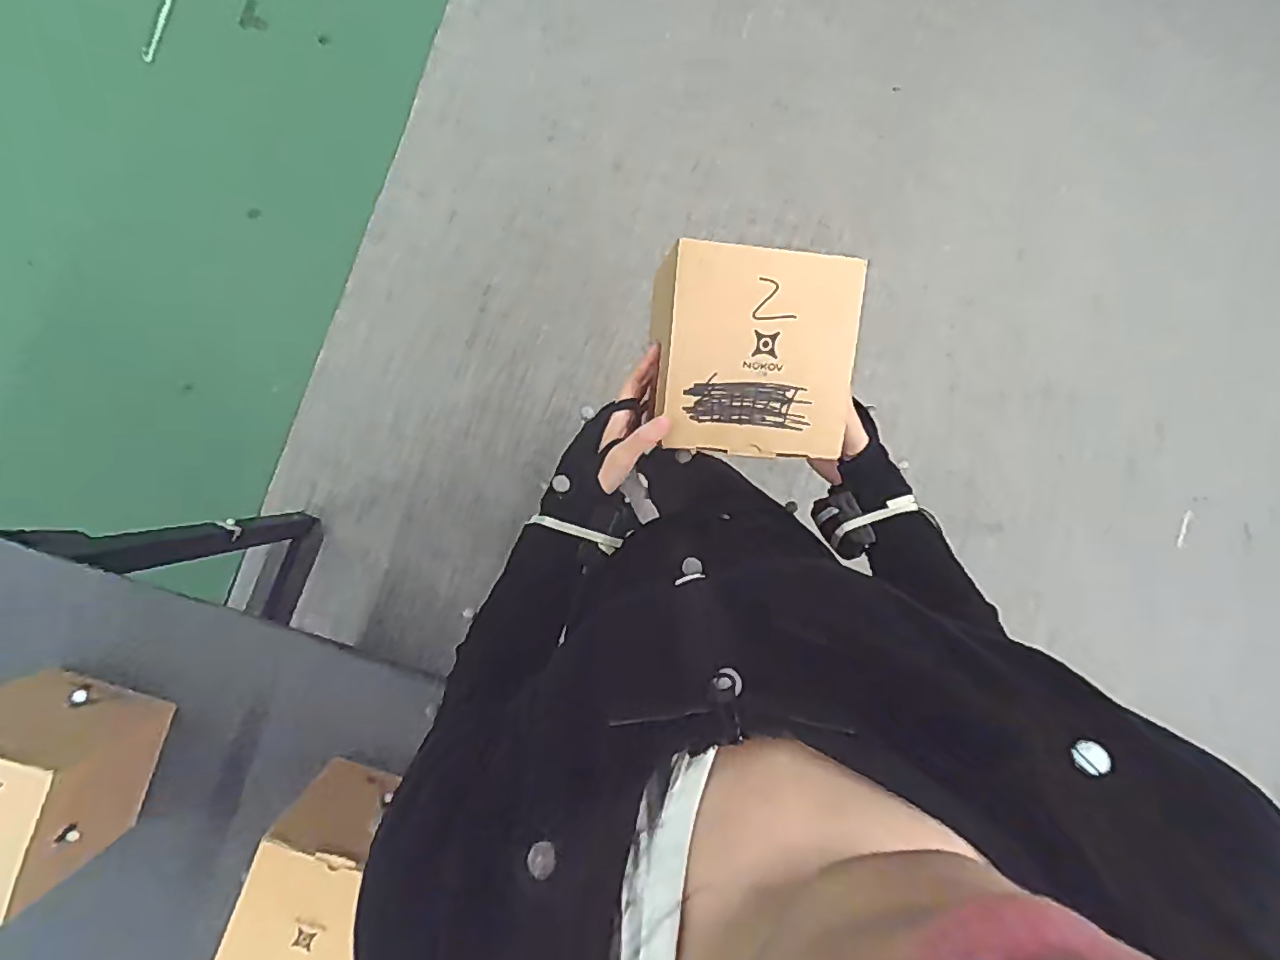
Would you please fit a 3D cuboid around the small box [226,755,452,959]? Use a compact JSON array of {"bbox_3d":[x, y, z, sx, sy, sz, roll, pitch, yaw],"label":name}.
[{"bbox_3d":[-0.361,0.493,0.683,0.168,0.176,0.179,21,90,-2],"label":"small box"}]
